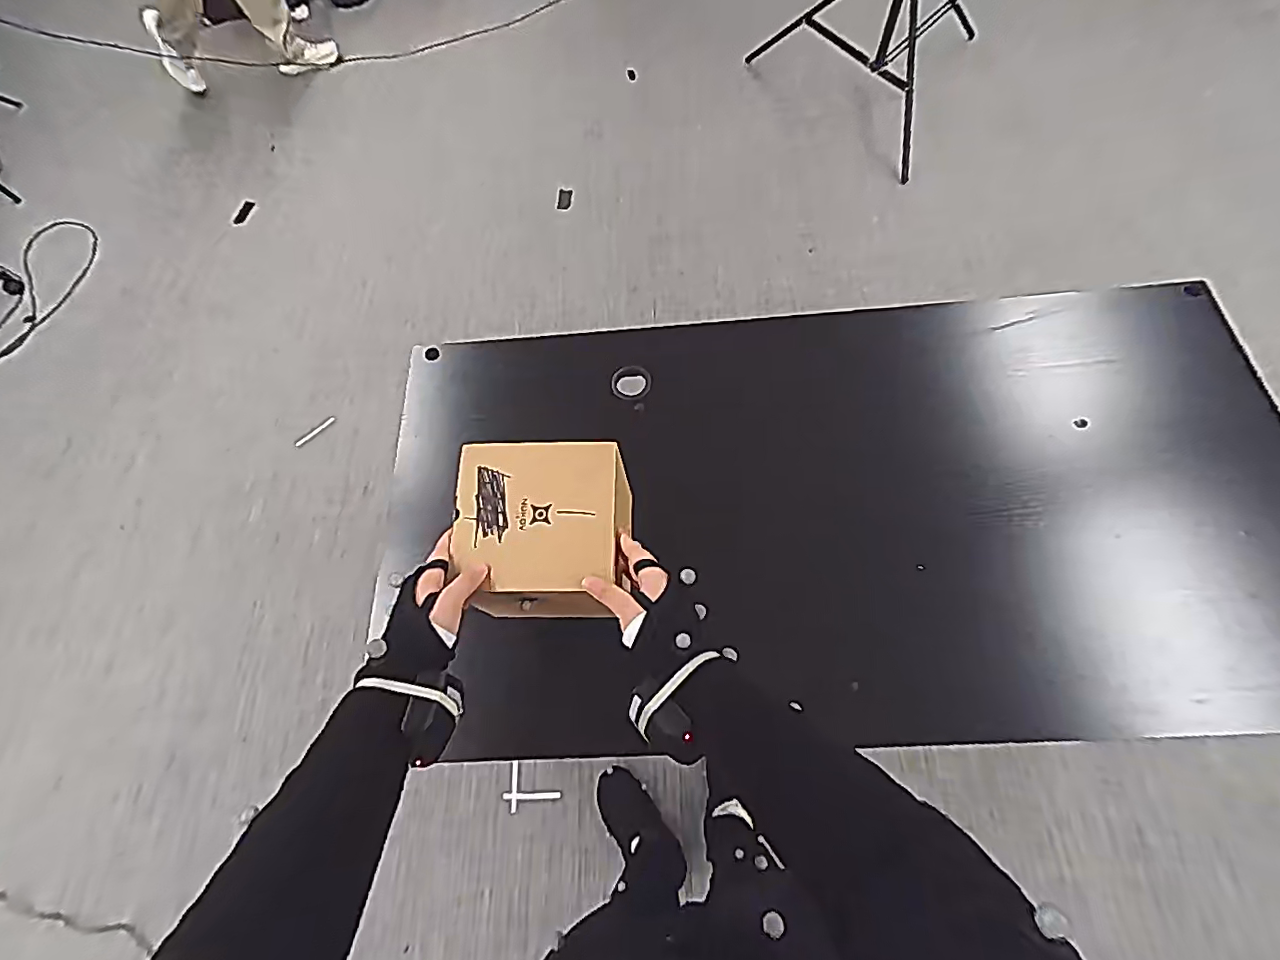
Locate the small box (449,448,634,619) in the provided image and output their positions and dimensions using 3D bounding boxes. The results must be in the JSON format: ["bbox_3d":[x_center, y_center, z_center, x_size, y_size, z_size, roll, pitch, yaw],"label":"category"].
[{"bbox_3d":[-0.104,0.073,0.652,0.179,0.176,0.168,-1,67,4],"label":"small box"}]
